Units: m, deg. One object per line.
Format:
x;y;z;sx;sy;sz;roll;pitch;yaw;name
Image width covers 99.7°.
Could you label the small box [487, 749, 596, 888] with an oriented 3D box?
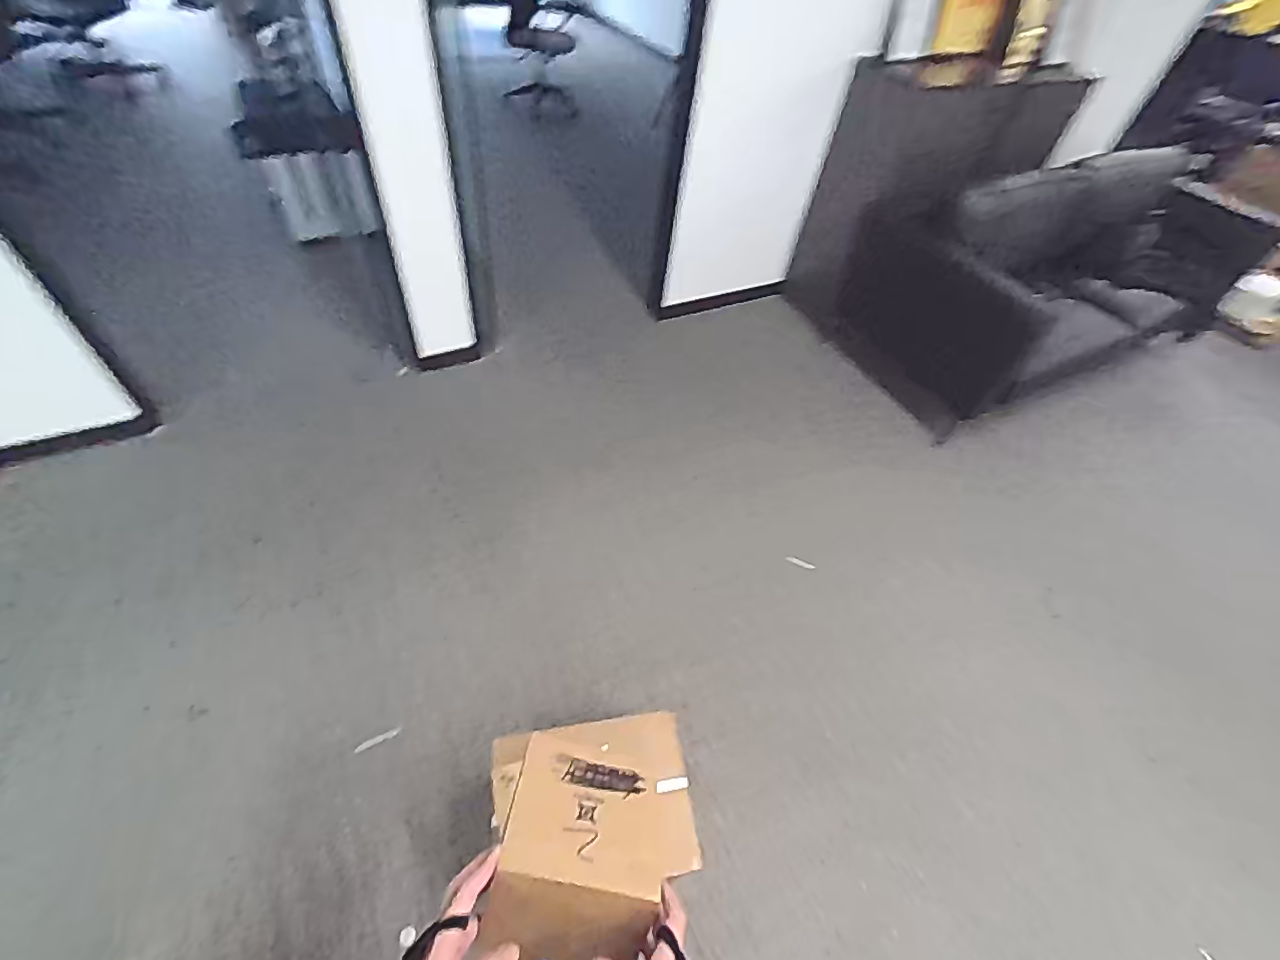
-0.185;0.633;1.011;0.168;0.176;0.179;-9;54;-17;small box
